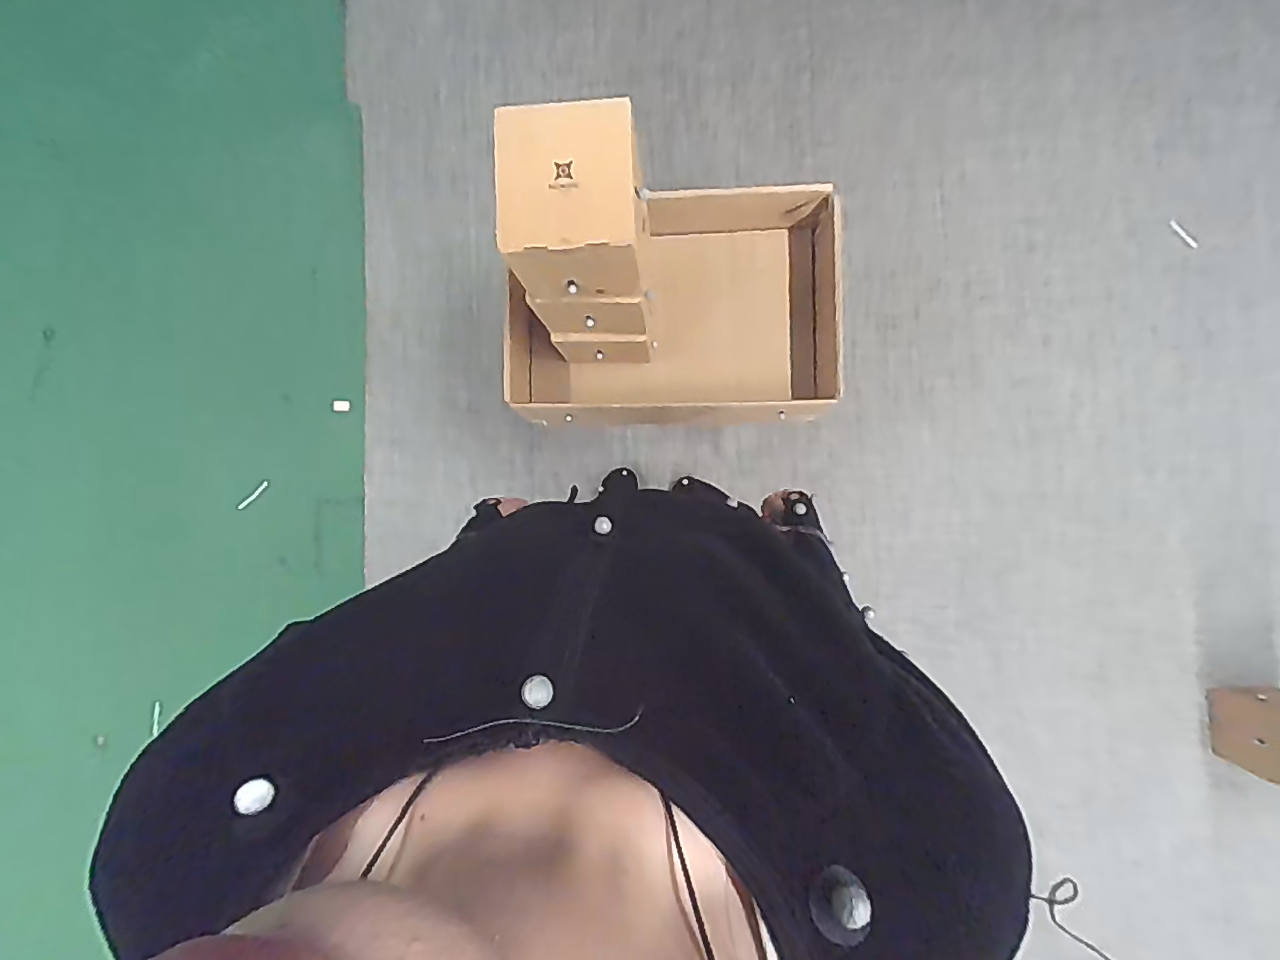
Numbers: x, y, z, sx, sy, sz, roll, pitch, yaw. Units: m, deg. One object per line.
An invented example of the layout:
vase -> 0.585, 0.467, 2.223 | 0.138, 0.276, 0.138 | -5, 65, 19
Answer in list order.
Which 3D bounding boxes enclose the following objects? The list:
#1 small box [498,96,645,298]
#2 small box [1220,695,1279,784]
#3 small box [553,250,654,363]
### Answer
small box -> -0.082, -0.359, 0.713 | 0.168, 0.176, 0.179 | -2, 88, 4
small box -> 1.566, 0.630, 1.303 | 0.168, 0.176, 0.179 | -3, 88, 5
small box -> -0.063, -0.326, 1.038 | 0.179, 0.176, 0.168 | 1, 88, 4
